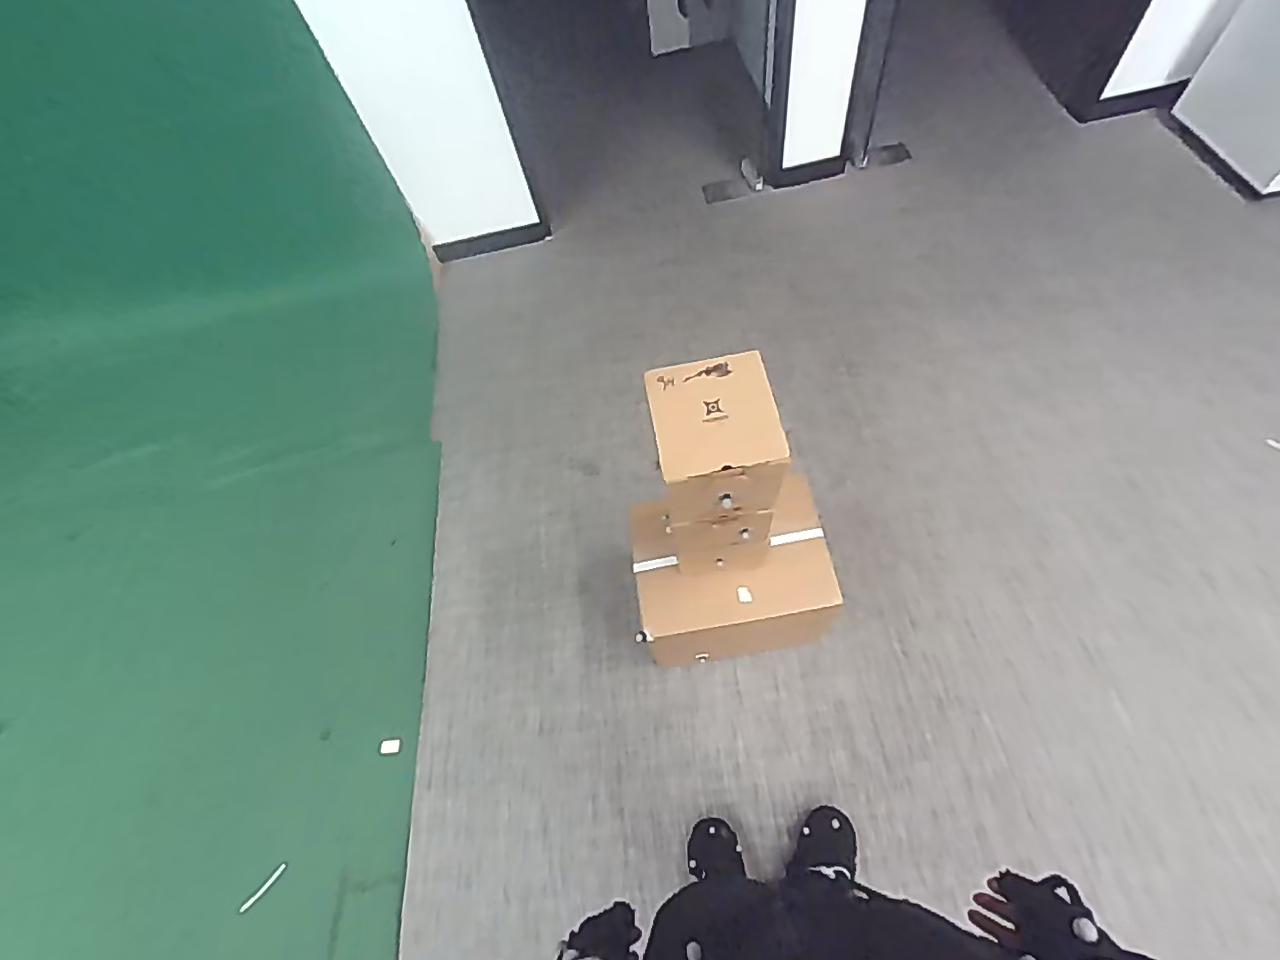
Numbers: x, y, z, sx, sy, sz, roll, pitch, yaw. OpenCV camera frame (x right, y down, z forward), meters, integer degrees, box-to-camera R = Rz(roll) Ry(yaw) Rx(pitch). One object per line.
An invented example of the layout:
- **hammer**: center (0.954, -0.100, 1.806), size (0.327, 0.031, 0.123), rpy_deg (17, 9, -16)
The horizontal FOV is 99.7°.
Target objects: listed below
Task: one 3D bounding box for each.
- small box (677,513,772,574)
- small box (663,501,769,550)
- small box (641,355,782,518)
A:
- **small box**: center (0.154, 0.083, 1.091), size (0.179, 0.176, 0.168), rpy_deg (-11, 66, 3)
- **small box**: center (0.123, 0.016, 0.947), size (0.168, 0.176, 0.179), rpy_deg (-10, 65, 3)
- **small box**: center (0.103, -0.053, 0.800), size (0.168, 0.176, 0.179), rpy_deg (-11, 67, 3)
